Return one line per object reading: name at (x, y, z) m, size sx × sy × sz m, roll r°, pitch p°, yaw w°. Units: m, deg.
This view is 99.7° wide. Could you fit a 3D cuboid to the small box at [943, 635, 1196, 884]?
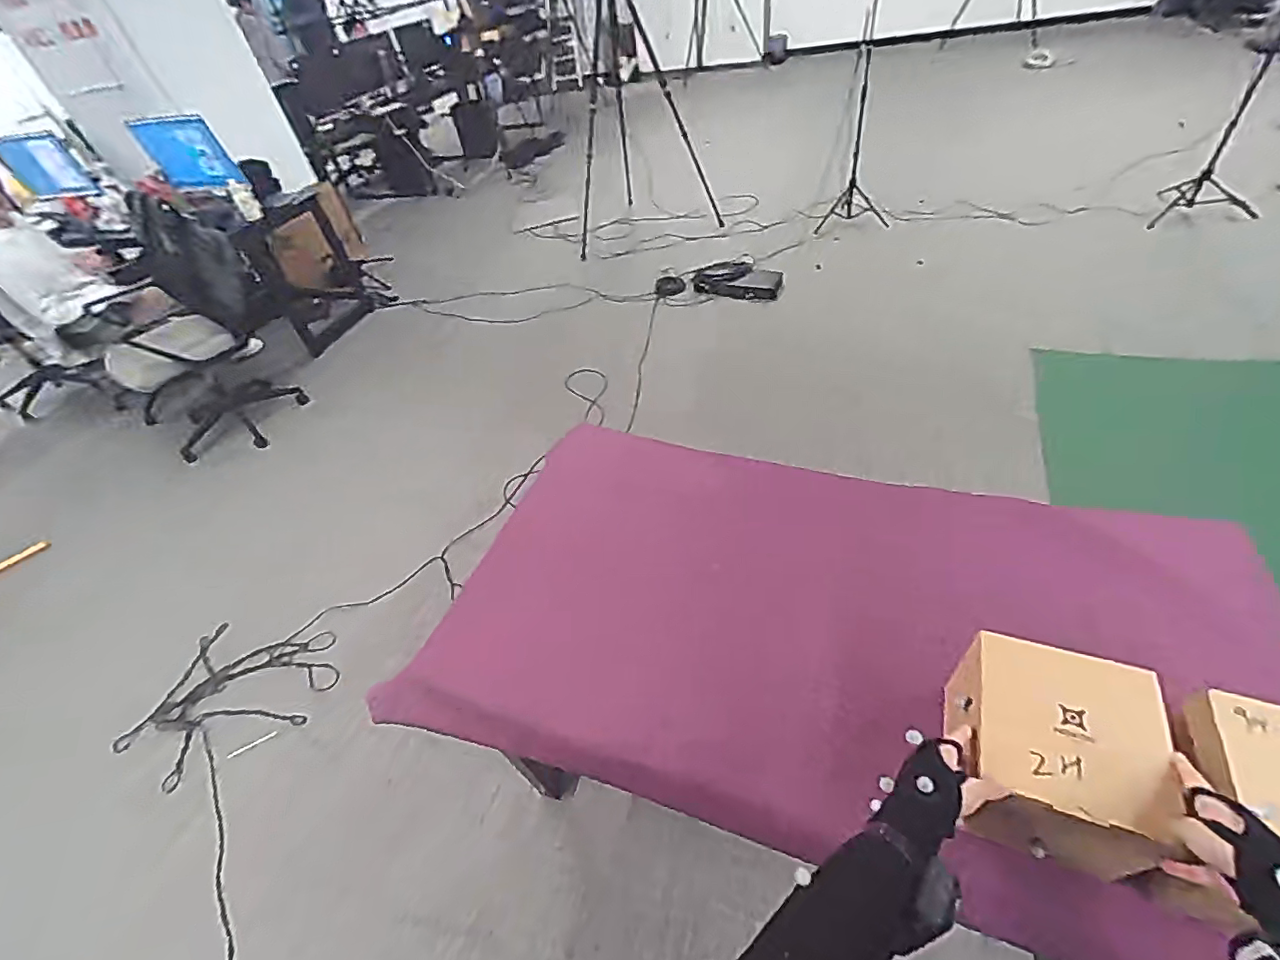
small box at (0.451, 0.308, 0.602) m, size 0.168 × 0.176 × 0.179 m, roll 11°, pitch 51°, yaw 22°
